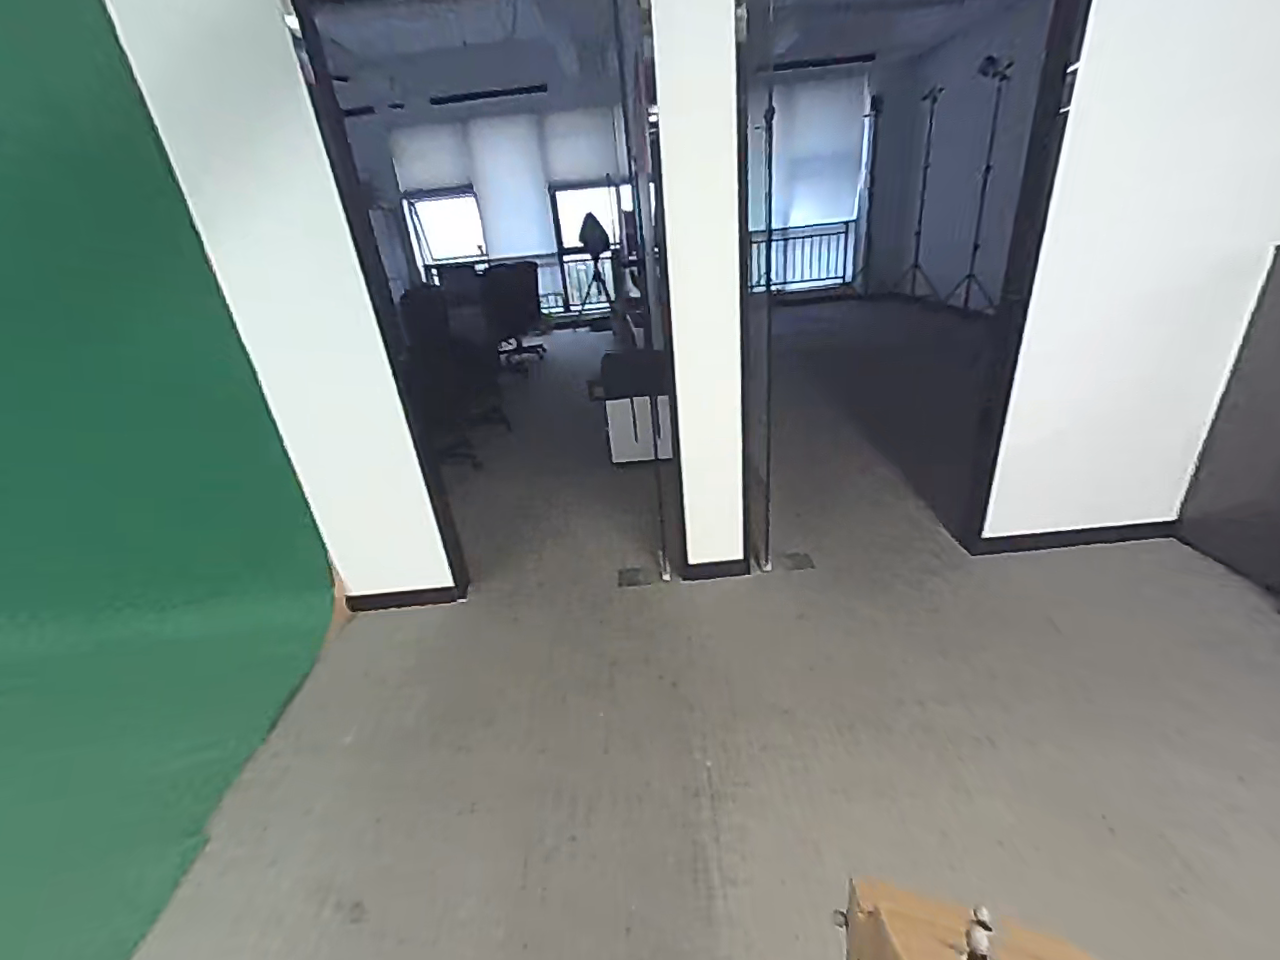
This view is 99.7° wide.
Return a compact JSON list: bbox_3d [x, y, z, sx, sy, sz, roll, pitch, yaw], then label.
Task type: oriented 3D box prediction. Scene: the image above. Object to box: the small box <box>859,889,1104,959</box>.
[{"bbox_3d":[0.198,0.338,0.266,0.168,0.176,0.179,4,65,21],"label":"small box"}]
